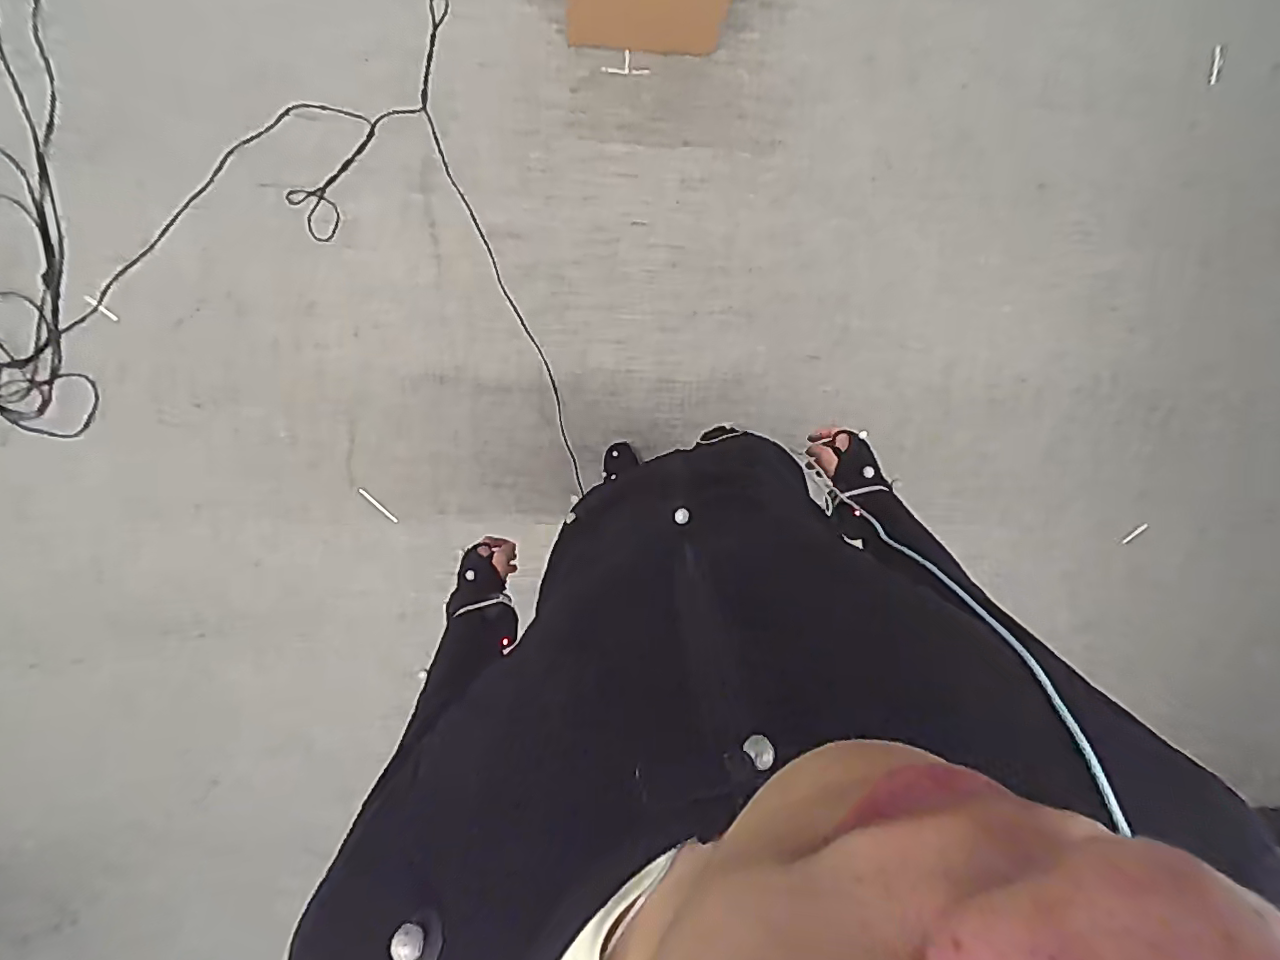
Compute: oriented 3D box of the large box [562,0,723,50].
[{"bbox_3d":[0.000,-1.320,1.327,0.408,0.320,0.320,-2,97,-5],"label":"large box"}]
